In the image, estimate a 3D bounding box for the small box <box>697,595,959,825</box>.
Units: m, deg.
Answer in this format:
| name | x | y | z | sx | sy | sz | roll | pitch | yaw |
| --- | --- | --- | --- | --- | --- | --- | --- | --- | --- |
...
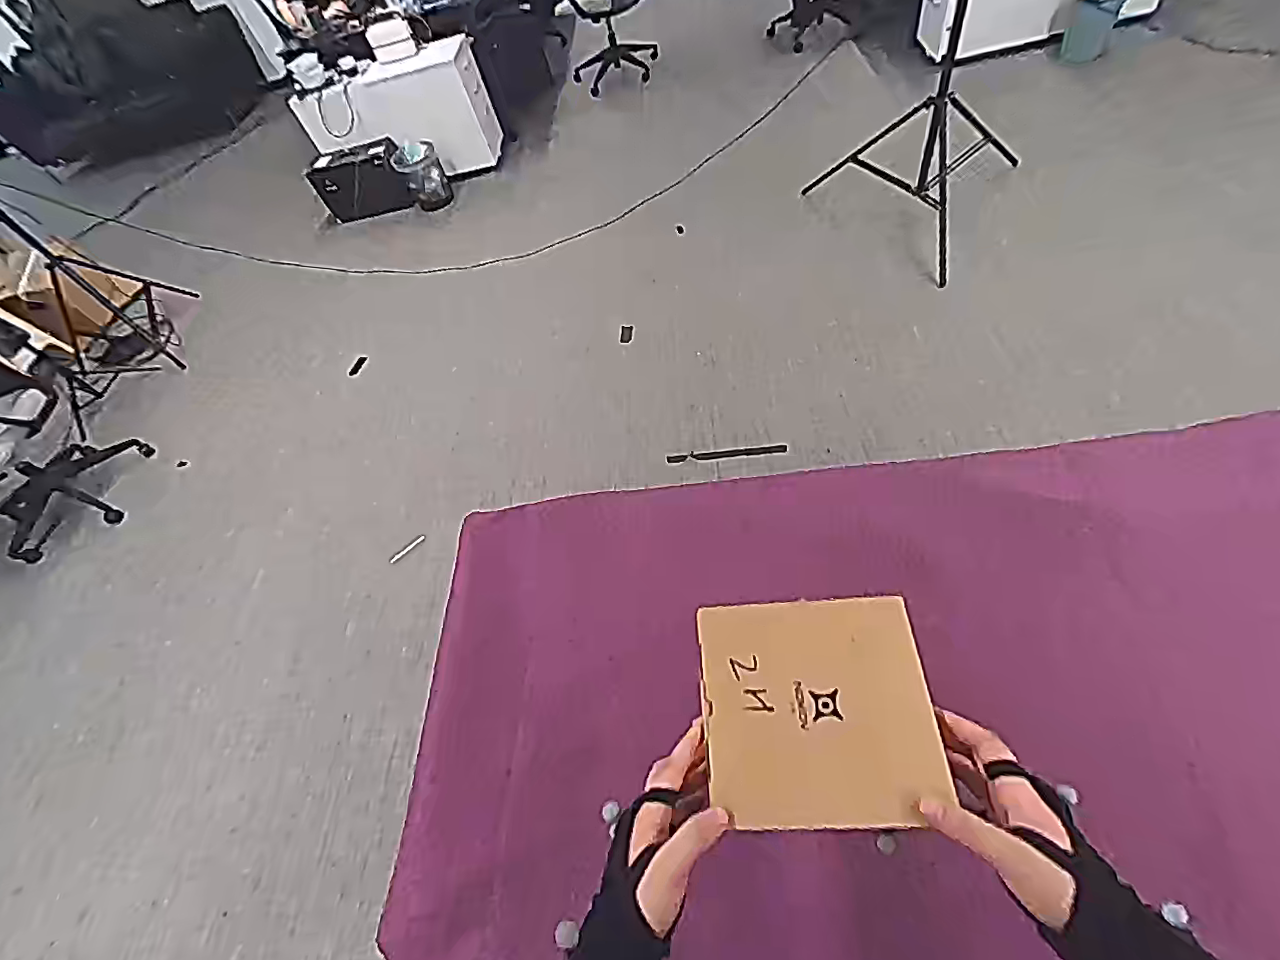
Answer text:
| name | x | y | z | sx | sy | sz | roll | pitch | yaw |
| --- | --- | --- | --- | --- | --- | --- | --- | --- | --- |
| small box | 0.147 | 0.212 | 0.490 | 0.179 | 0.176 | 0.168 | -5 | 59 | 8 |
